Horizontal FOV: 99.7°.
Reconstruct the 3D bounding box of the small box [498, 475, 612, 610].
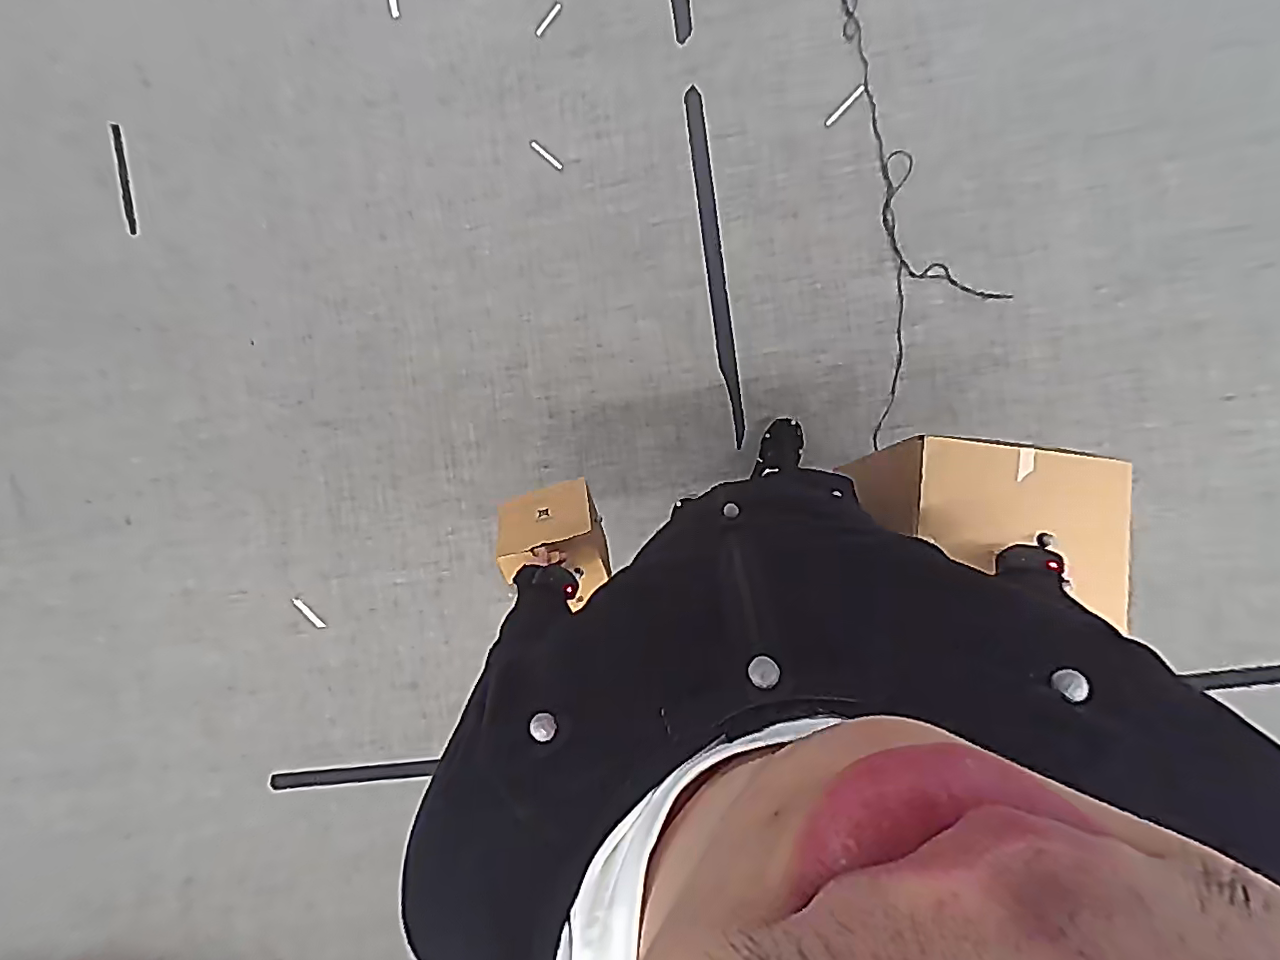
[{"bbox_3d":[-0.155,0.122,1.015,0.168,0.179,0.176,-15,124,-1],"label":"small box"}]
